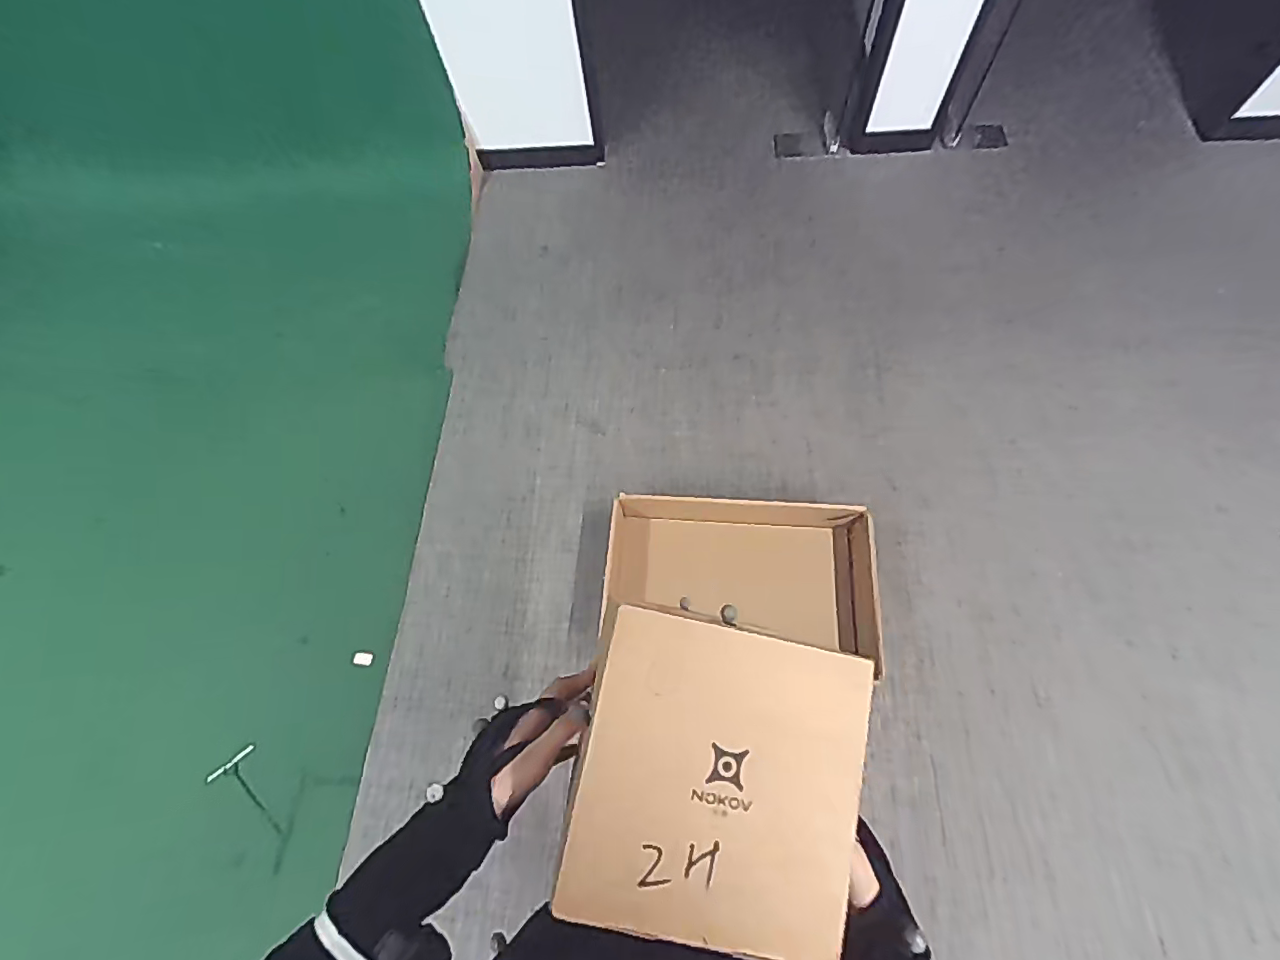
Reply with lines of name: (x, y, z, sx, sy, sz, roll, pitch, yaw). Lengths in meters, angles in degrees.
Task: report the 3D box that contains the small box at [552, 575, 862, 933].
small box: (0.041, 0.177, 0.406, 0.168, 0.176, 0.179, 13, 78, 0)
